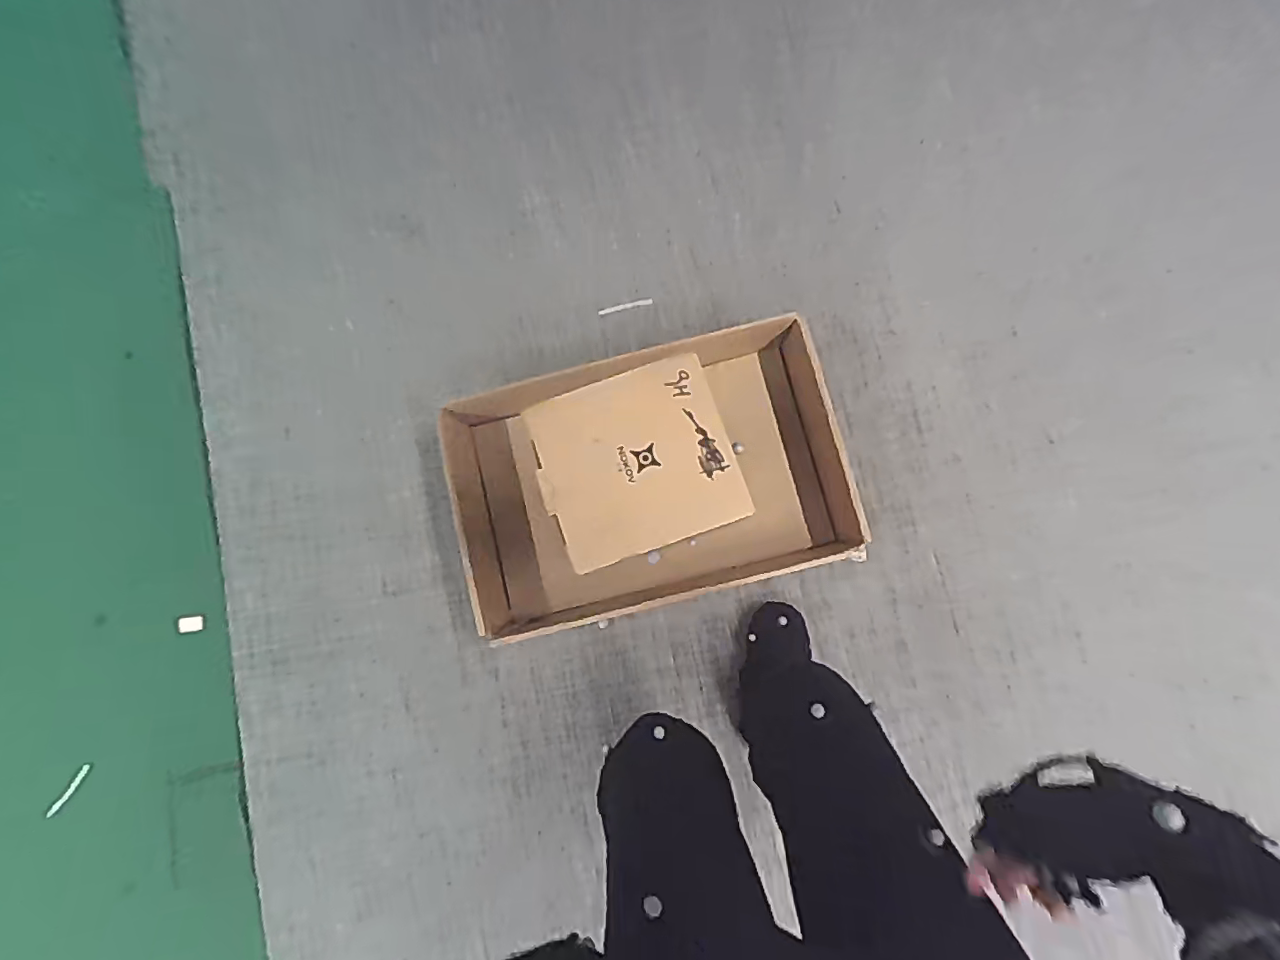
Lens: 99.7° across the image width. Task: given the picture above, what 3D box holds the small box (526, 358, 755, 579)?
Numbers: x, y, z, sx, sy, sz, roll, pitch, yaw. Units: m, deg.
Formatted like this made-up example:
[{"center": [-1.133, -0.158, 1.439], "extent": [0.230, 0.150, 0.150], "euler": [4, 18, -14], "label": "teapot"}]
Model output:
[{"center": [0.003, 0.002, 0.581], "extent": [0.179, 0.176, 0.168], "euler": [-22, 80, -1], "label": "small box"}]
